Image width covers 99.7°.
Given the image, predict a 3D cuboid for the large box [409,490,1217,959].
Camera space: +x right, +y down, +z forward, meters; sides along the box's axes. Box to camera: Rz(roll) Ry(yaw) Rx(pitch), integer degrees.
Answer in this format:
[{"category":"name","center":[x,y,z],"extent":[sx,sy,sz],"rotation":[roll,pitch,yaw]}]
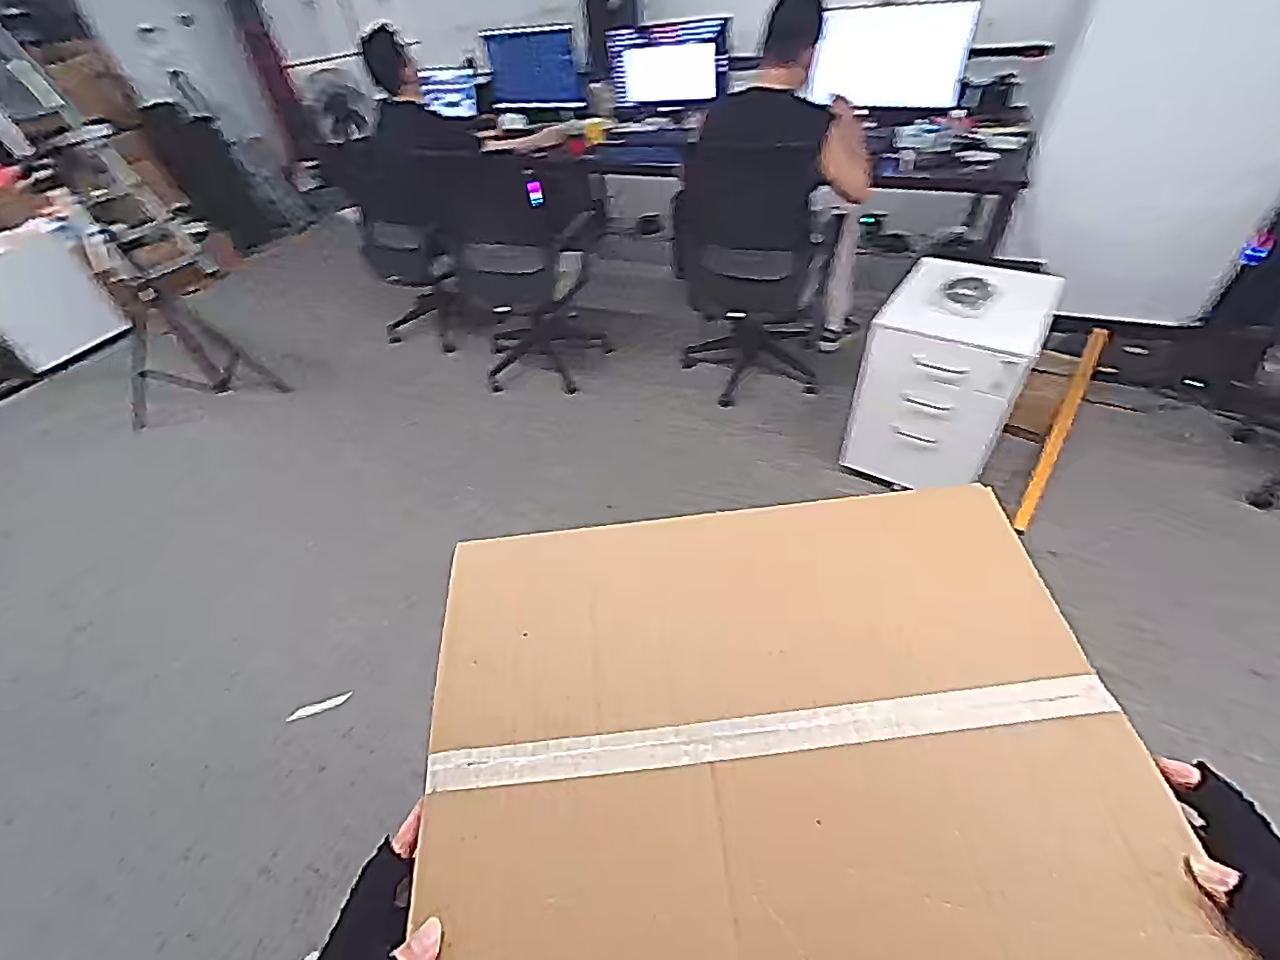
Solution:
[{"category":"large box","center":[0.079,0.243,0.450],"extent":[0.408,0.320,0.320],"rotation":[-8,54,0]}]
